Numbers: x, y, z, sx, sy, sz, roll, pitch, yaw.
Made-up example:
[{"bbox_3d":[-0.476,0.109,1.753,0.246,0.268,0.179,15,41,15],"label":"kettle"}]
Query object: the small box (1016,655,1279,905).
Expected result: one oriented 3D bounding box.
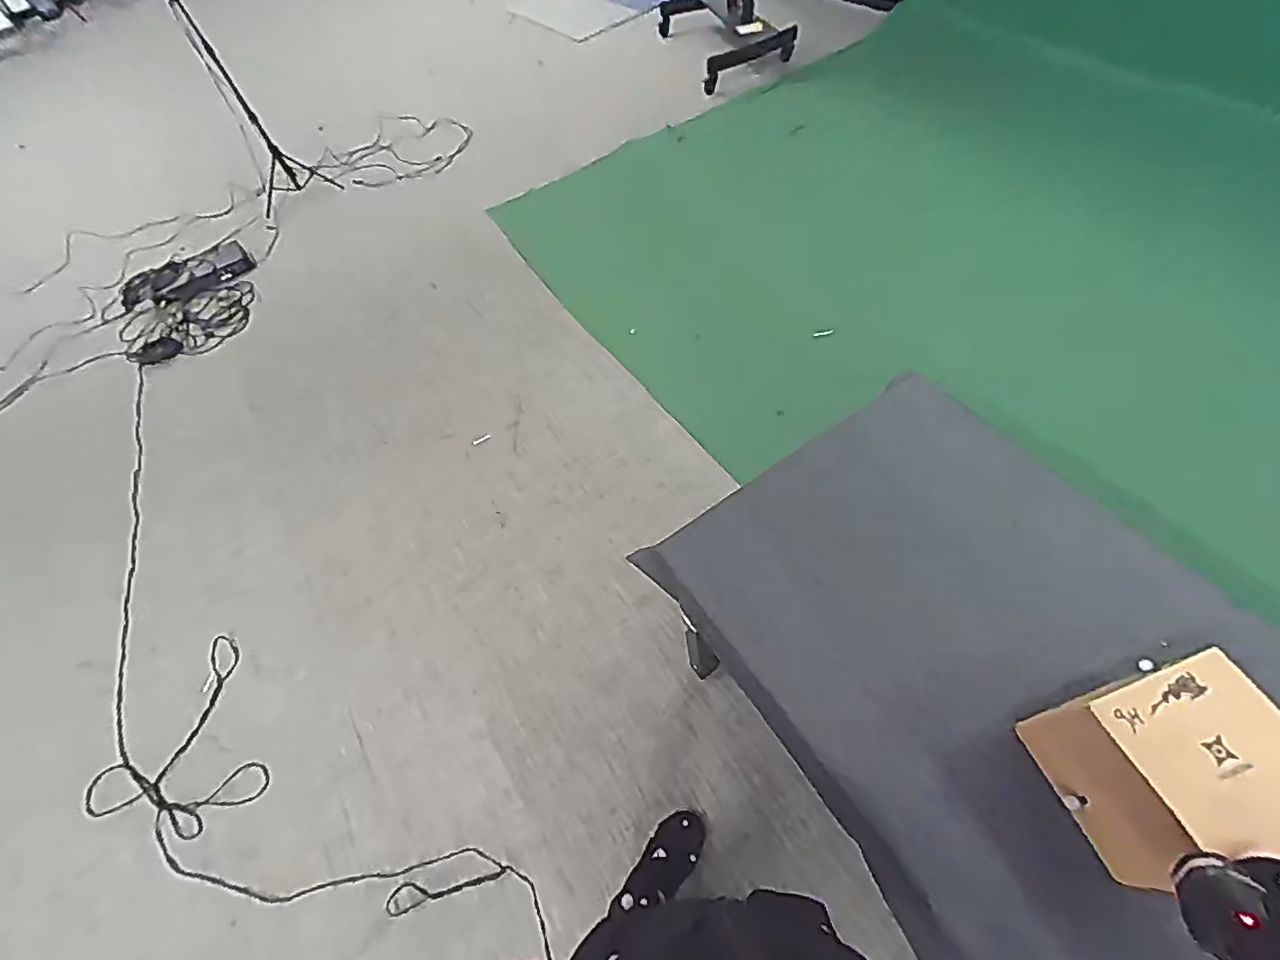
[{"bbox_3d":[0.570,0.319,0.588,0.168,0.176,0.179,-19,57,-6],"label":"small box"}]
